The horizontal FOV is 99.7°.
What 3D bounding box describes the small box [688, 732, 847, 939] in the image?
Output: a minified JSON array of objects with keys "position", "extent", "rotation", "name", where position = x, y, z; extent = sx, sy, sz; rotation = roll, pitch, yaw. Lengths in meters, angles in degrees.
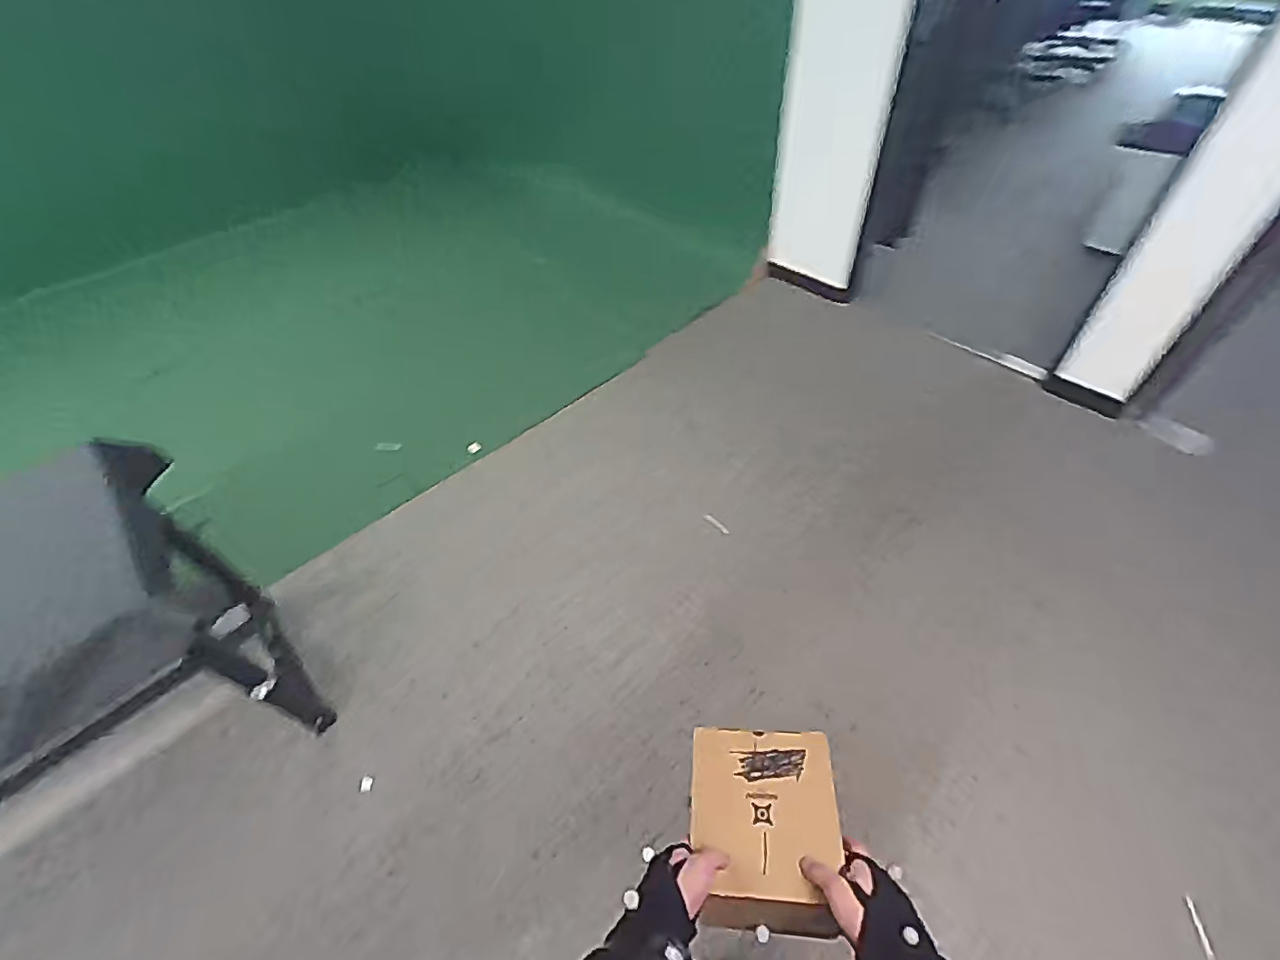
[{"position":[0.148,0.440,0.676],"extent":[0.168,0.176,0.179],"rotation":[-4,41,9],"name":"small box"}]
